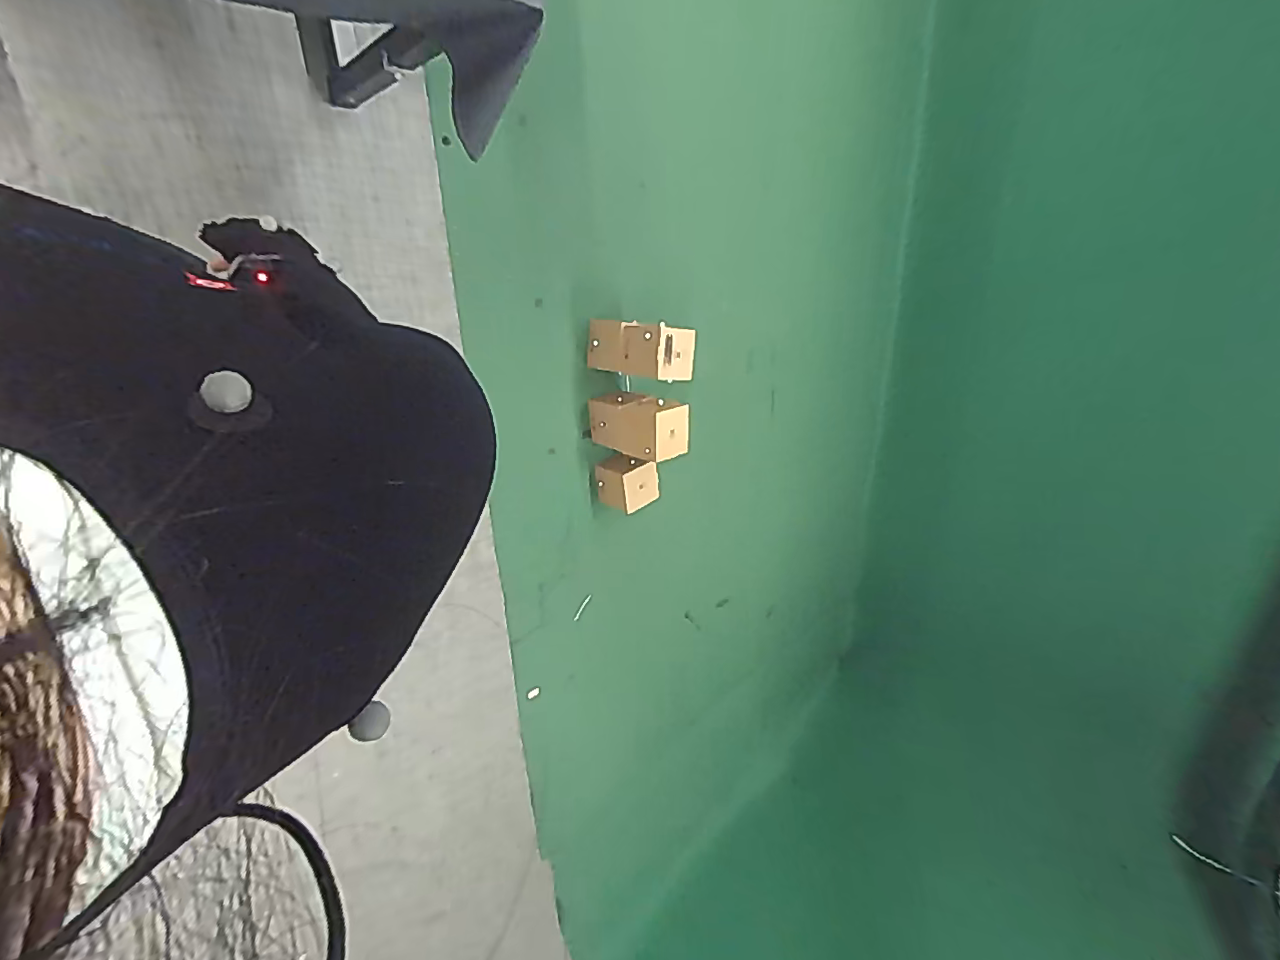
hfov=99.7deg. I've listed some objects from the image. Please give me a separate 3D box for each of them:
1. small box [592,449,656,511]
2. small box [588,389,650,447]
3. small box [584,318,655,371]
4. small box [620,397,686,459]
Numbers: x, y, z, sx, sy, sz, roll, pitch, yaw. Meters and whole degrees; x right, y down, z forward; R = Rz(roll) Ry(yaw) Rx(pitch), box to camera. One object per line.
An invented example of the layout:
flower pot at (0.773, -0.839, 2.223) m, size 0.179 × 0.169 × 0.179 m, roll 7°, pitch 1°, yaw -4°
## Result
small box at (-0.060, -0.007, 2.088) m, size 0.179 × 0.176 × 0.168 m, roll -28°, pitch 123°, yaw -38°
small box at (-0.077, -0.232, 1.987) m, size 0.179 × 0.176 × 0.168 m, roll -25°, pitch 121°, yaw -40°
small box at (-0.072, -0.477, 1.903) m, size 0.179 × 0.176 × 0.168 m, roll -8°, pitch 109°, yaw -44°
small box at (0.043, -0.188, 1.886) m, size 0.168 × 0.176 × 0.179 m, roll -21°, pitch 119°, yaw -41°
